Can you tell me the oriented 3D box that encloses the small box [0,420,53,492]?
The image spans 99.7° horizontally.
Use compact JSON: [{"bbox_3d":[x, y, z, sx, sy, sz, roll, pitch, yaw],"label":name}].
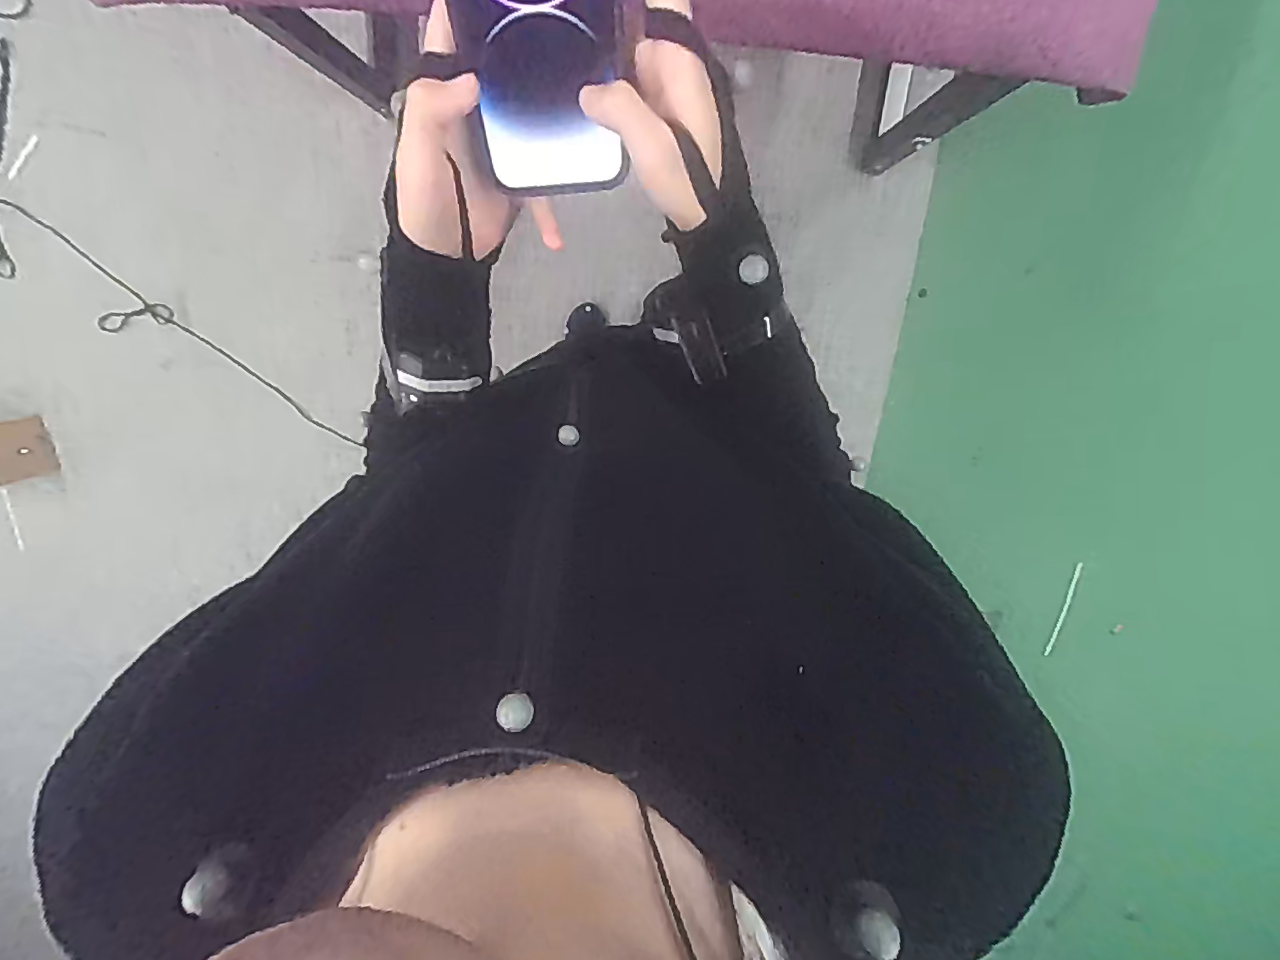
[{"bbox_3d":[-1.771,-0.066,1.470,0.179,0.176,0.168,-2,107,3],"label":"small box"}]
